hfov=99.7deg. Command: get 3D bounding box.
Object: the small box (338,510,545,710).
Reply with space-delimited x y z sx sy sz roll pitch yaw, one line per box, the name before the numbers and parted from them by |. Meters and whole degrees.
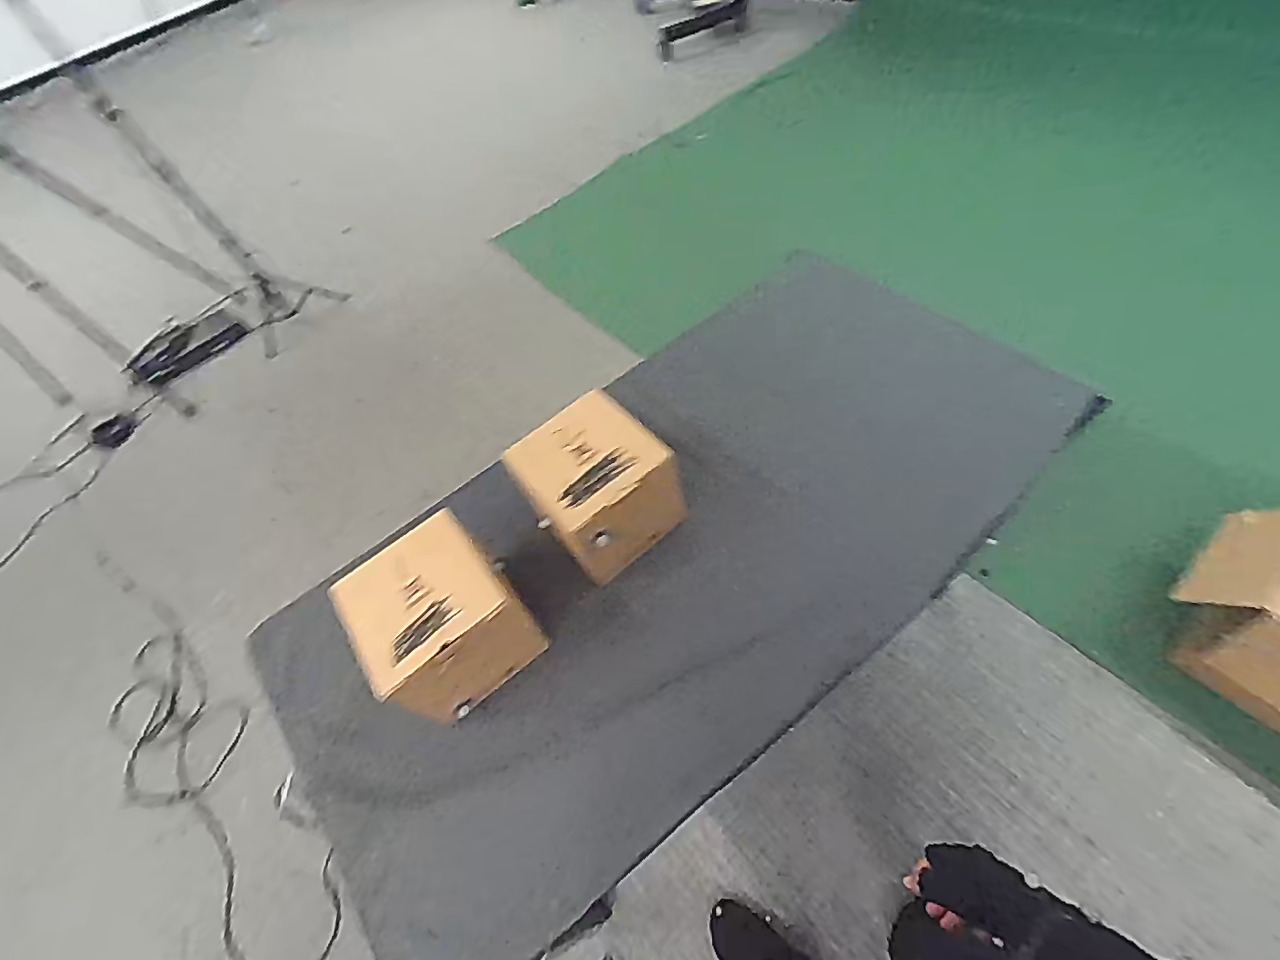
small box | -0.251 0.180 0.716 0.168 0.176 0.179 -37 57 -14
